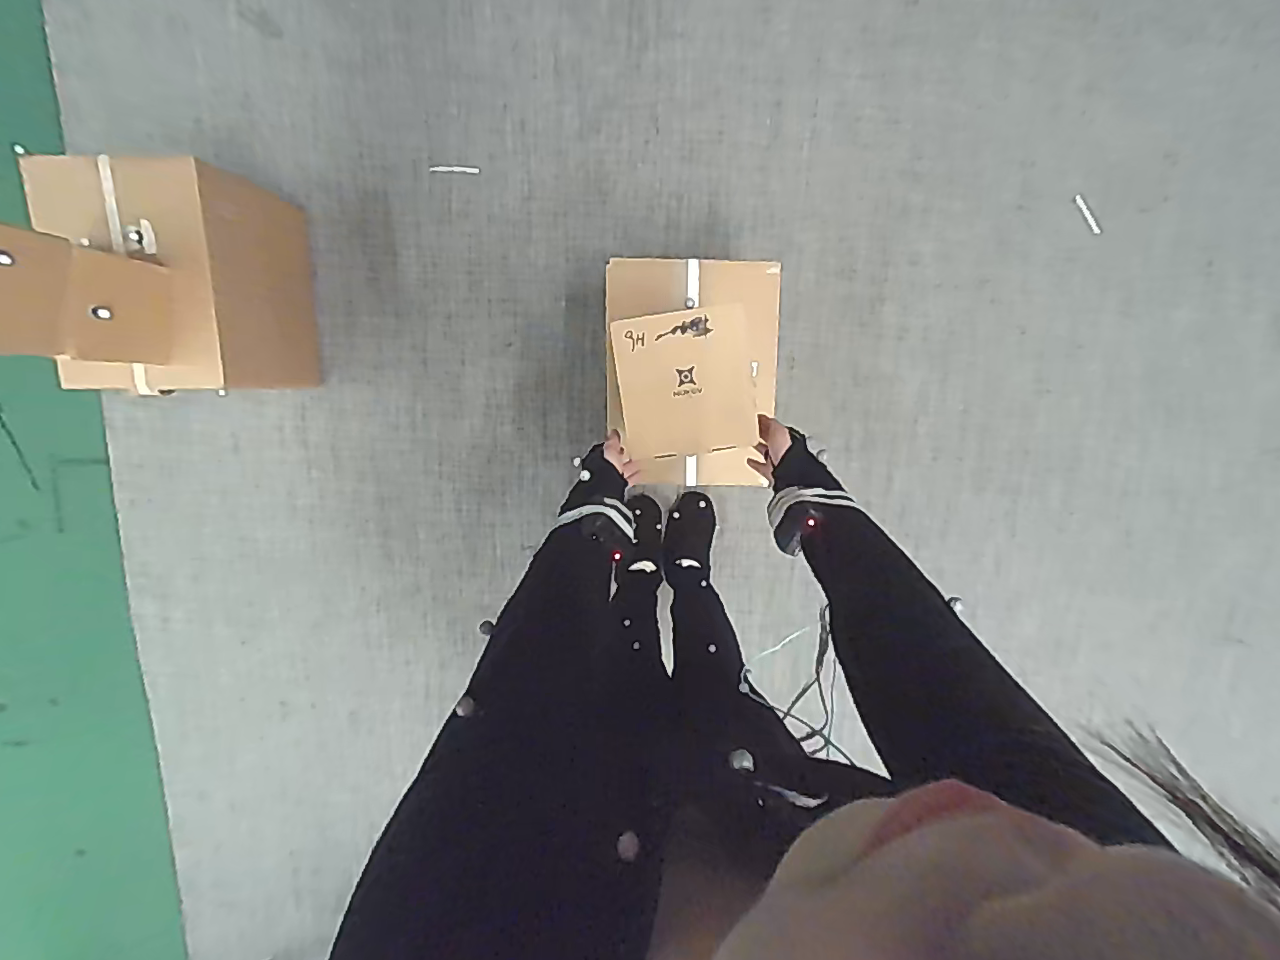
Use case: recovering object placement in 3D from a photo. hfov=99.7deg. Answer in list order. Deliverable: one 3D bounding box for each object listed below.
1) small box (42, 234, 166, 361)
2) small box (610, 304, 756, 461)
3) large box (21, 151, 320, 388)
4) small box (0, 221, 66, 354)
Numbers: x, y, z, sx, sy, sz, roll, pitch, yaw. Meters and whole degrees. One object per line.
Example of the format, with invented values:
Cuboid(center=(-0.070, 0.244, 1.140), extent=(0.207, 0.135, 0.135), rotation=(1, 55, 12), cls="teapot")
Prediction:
Cuboid(center=(-0.928, -0.298, 0.885), extent=(0.168, 0.176, 0.179), rotation=(12, 102, -1), cls="small box")
Cuboid(center=(0.059, -0.134, 0.737), extent=(0.168, 0.176, 0.179), rotation=(-7, 102, 4), cls="small box")
Cuboid(center=(-0.917, -0.396, 1.113), extent=(0.320, 0.320, 0.408), rotation=(1, 100, 1), cls="large box")
Cuboid(center=(-0.936, -0.276, 0.724), extent=(0.168, 0.176, 0.179), rotation=(15, 102, -1), cls="small box")
